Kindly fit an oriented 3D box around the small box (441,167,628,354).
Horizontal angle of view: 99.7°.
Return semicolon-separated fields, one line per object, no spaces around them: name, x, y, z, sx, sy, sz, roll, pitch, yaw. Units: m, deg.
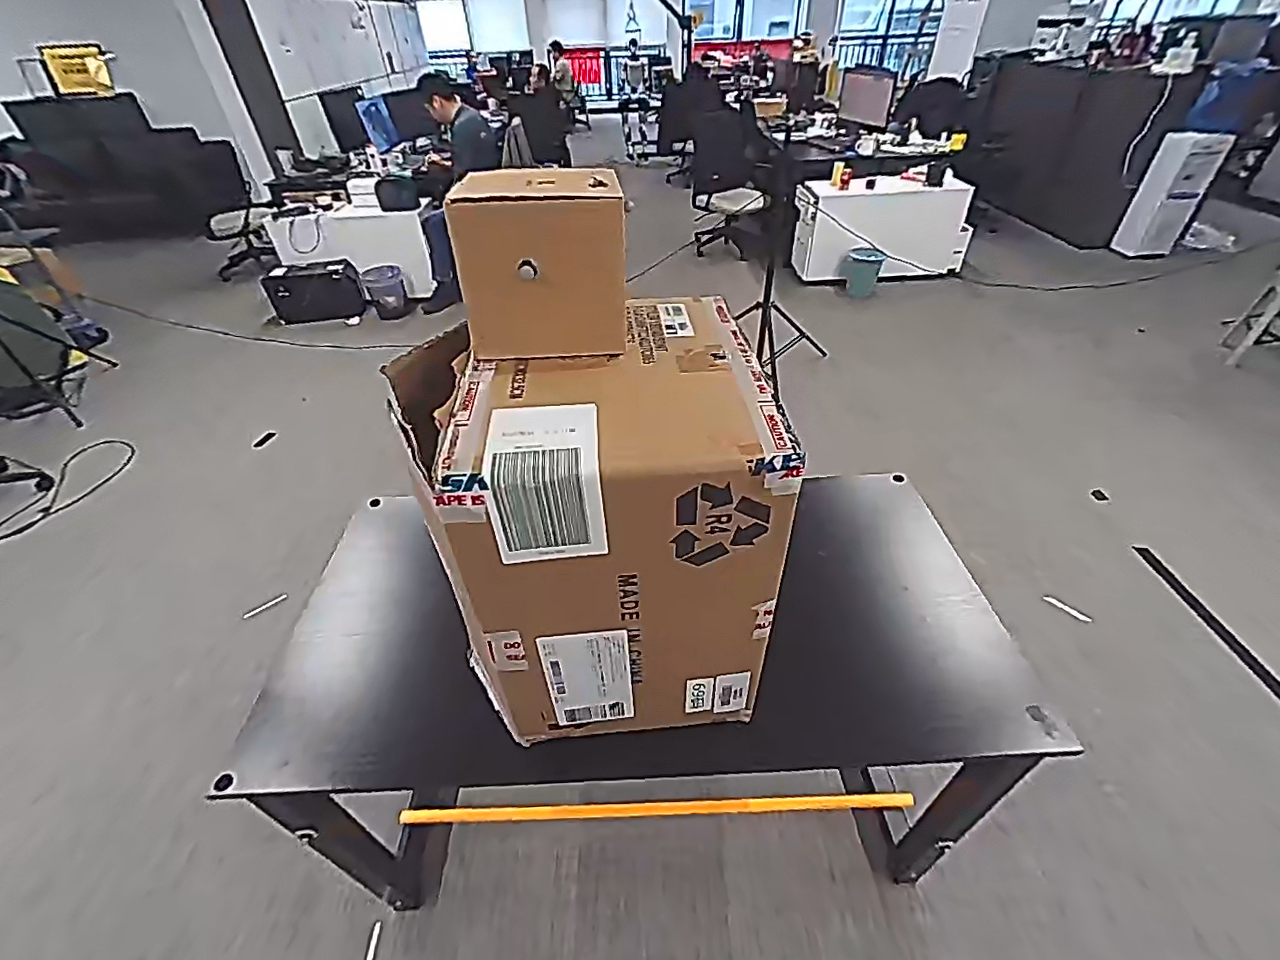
small box;-0.109;-0.256;0.632;0.179;0.176;0.168;-4;38;-4
